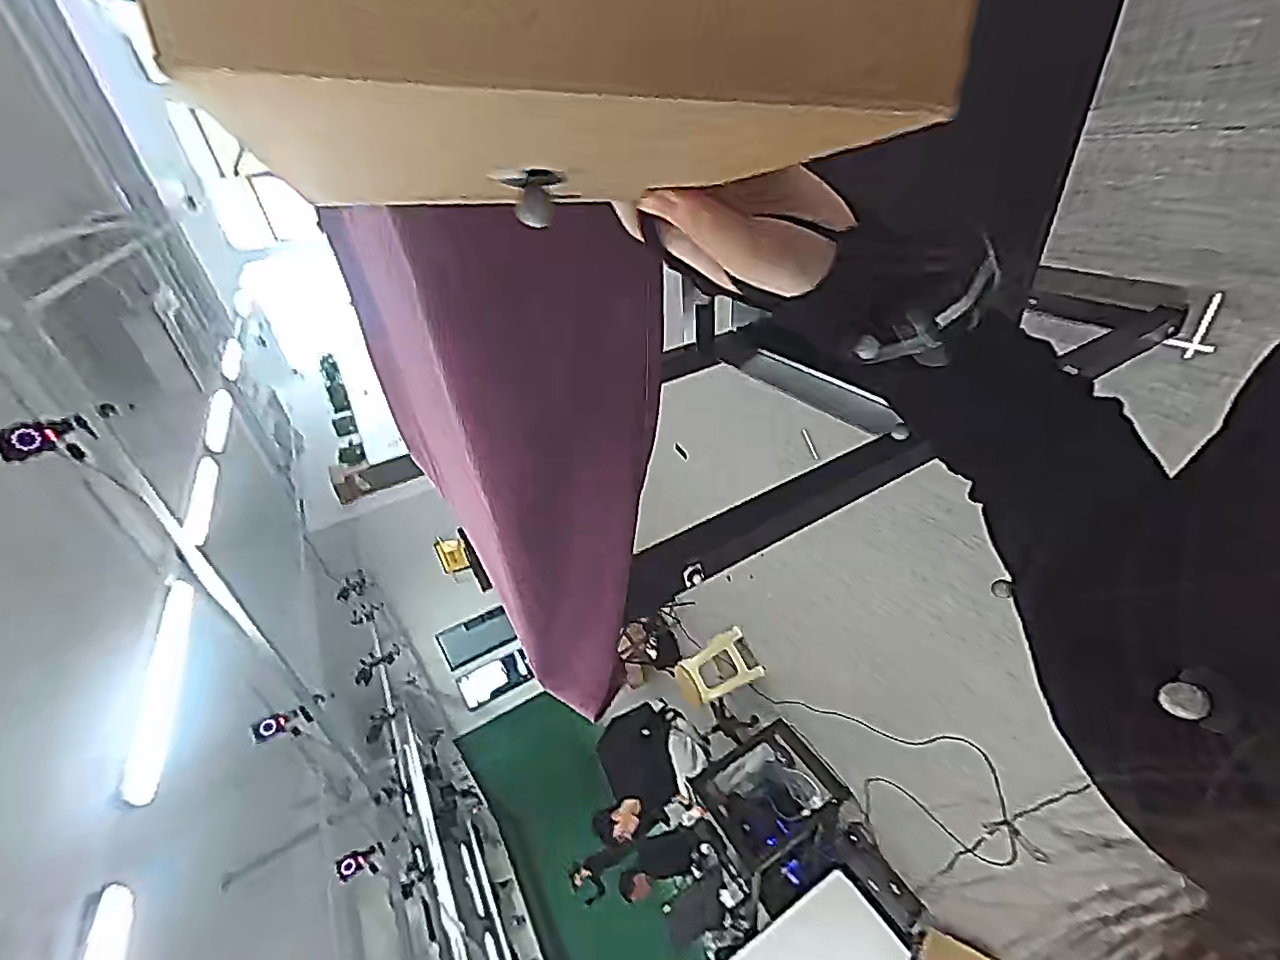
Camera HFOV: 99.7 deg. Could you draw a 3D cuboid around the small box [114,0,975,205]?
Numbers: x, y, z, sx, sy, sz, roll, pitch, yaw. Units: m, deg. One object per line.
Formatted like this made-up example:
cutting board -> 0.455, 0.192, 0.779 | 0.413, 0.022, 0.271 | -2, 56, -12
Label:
small box -> -0.032, -0.177, 0.143 | 0.176, 0.168, 0.179 | -143, 46, -58
